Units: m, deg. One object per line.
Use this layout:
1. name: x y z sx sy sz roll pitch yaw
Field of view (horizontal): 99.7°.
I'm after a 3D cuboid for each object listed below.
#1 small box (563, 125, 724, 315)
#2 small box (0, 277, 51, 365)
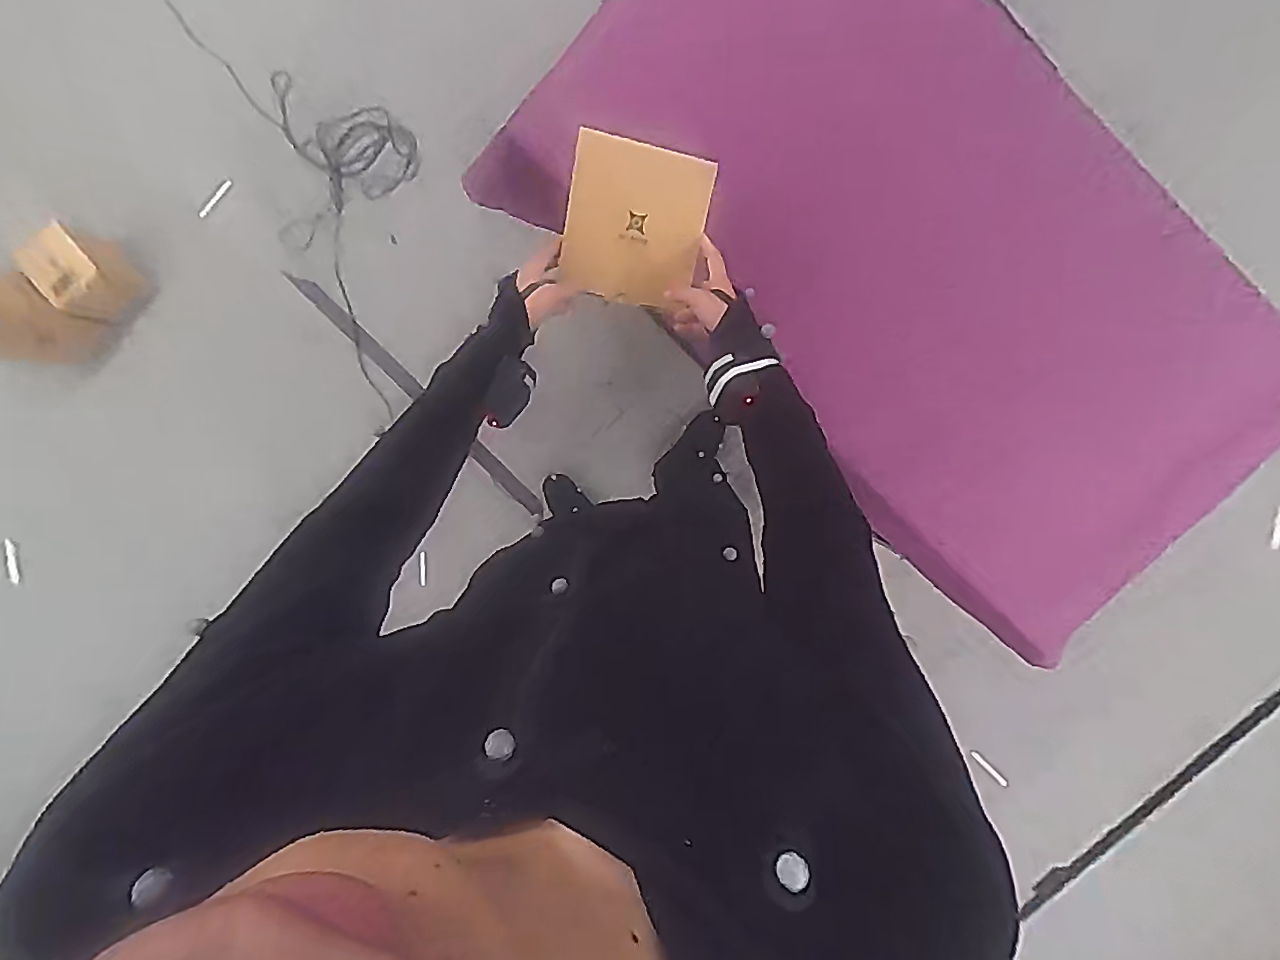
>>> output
1. small box: -0.008 -0.329 0.715 0.168 0.176 0.179 10 109 -10
2. small box: -1.669 -0.411 1.364 0.179 0.176 0.168 -41 94 7
